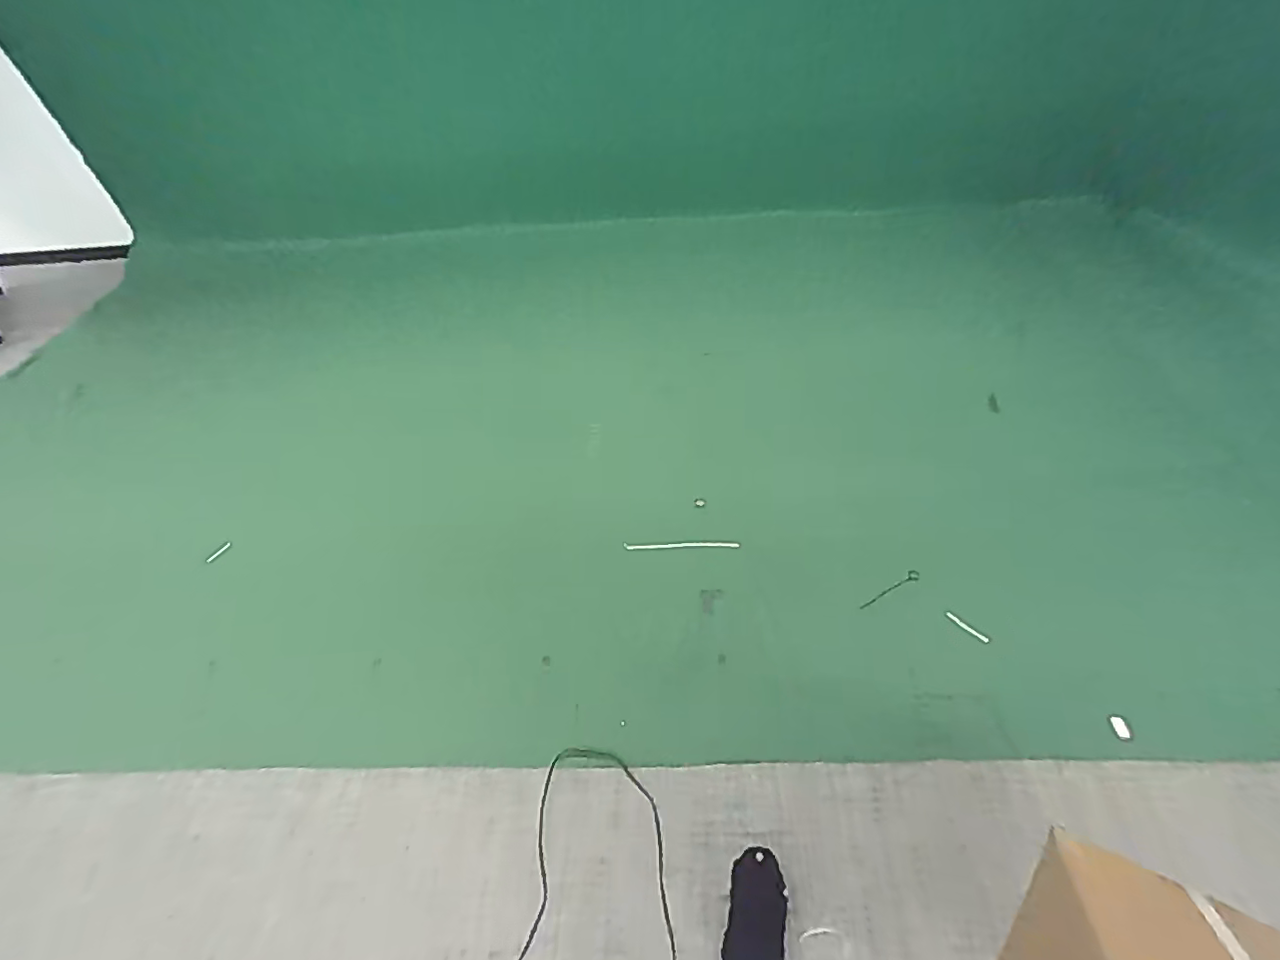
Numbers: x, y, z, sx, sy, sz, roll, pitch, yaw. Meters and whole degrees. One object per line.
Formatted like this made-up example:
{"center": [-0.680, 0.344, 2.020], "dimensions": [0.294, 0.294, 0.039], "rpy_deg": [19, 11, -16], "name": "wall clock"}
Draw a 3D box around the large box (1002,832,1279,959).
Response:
{"center": [0.604, 0.697, 0.563], "dimensions": [0.320, 0.320, 0.408], "rpy_deg": [19, 8, 24], "name": "large box"}
